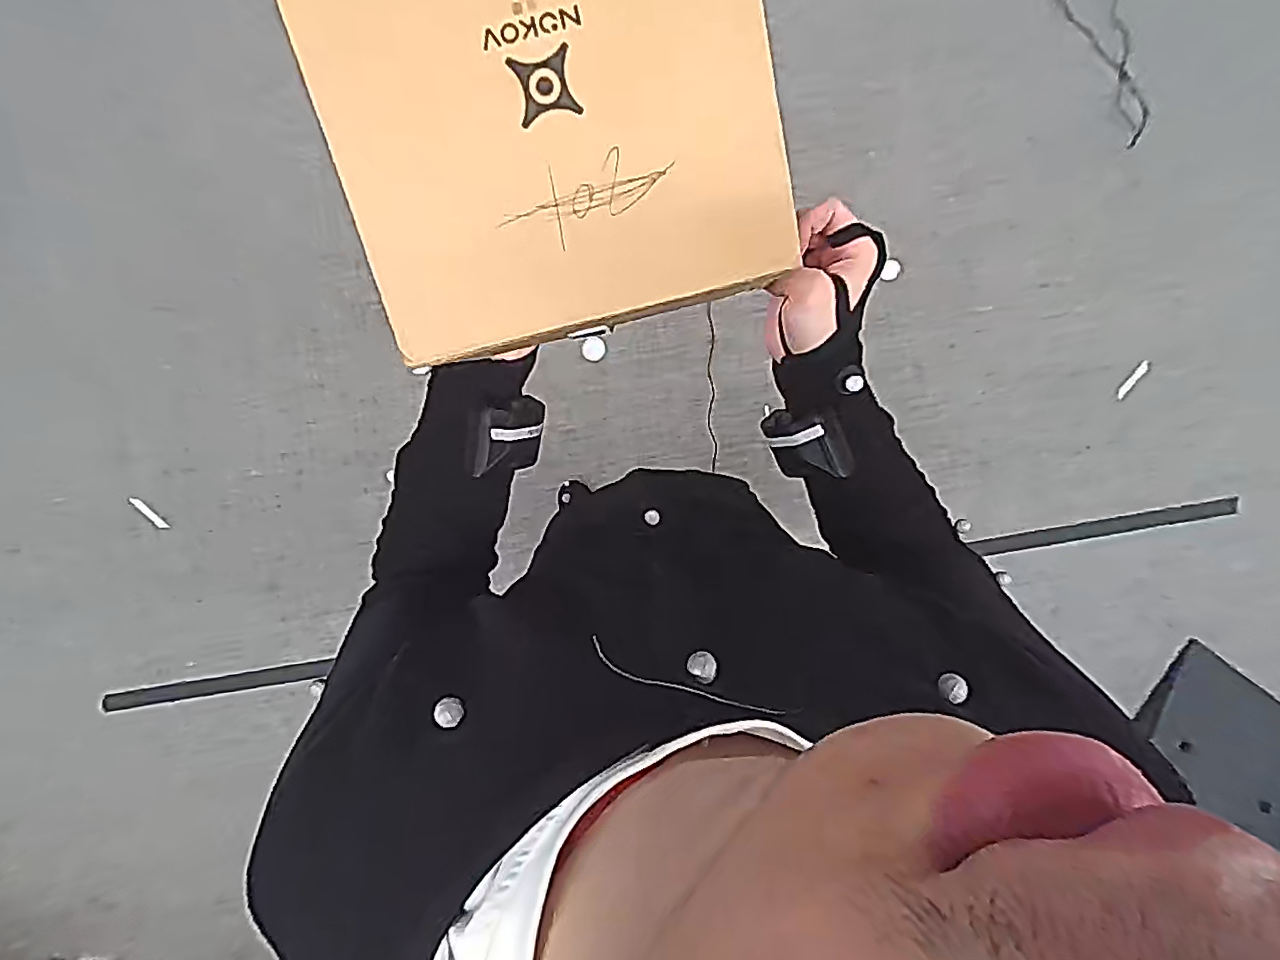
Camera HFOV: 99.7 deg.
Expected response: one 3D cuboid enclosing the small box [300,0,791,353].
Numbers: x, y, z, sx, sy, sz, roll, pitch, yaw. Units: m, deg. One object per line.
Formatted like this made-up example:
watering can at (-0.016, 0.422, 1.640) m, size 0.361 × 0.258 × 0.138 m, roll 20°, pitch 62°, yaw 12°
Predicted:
small box at (-0.038, -0.172, 0.284) m, size 0.168 × 0.176 × 0.179 m, roll -14°, pitch 105°, yaw 2°
